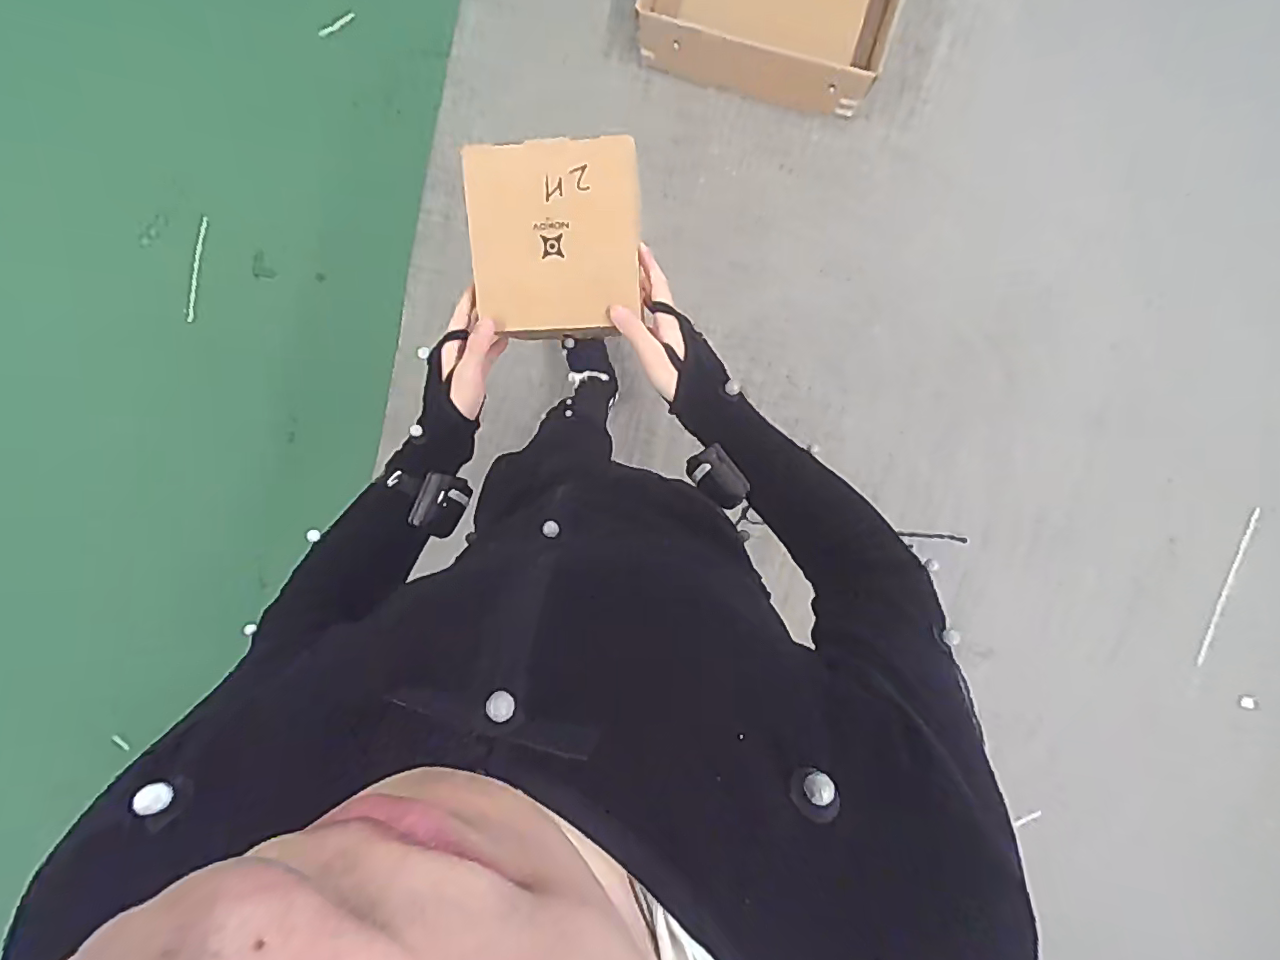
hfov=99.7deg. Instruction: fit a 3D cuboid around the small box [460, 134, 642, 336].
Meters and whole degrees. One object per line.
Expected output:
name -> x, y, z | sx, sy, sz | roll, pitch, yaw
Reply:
small box -> -0.084, -0.253, 0.601 | 0.168, 0.176, 0.179 | -1, 101, 2
